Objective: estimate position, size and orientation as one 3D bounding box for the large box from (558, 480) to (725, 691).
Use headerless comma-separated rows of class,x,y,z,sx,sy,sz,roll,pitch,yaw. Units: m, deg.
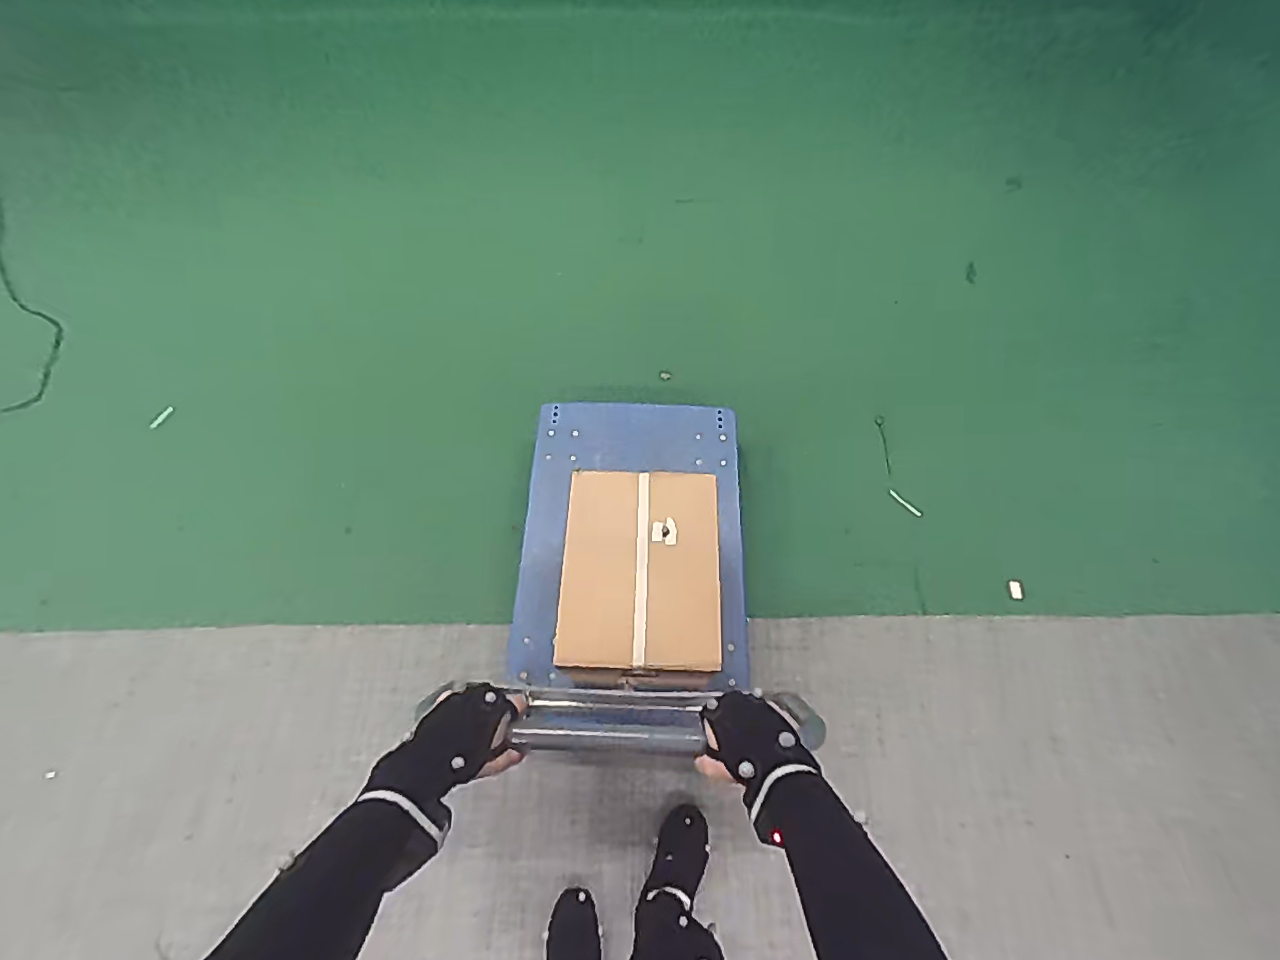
large box,0.006,0.248,1.214,0.320,0.320,0.408,2,63,0
